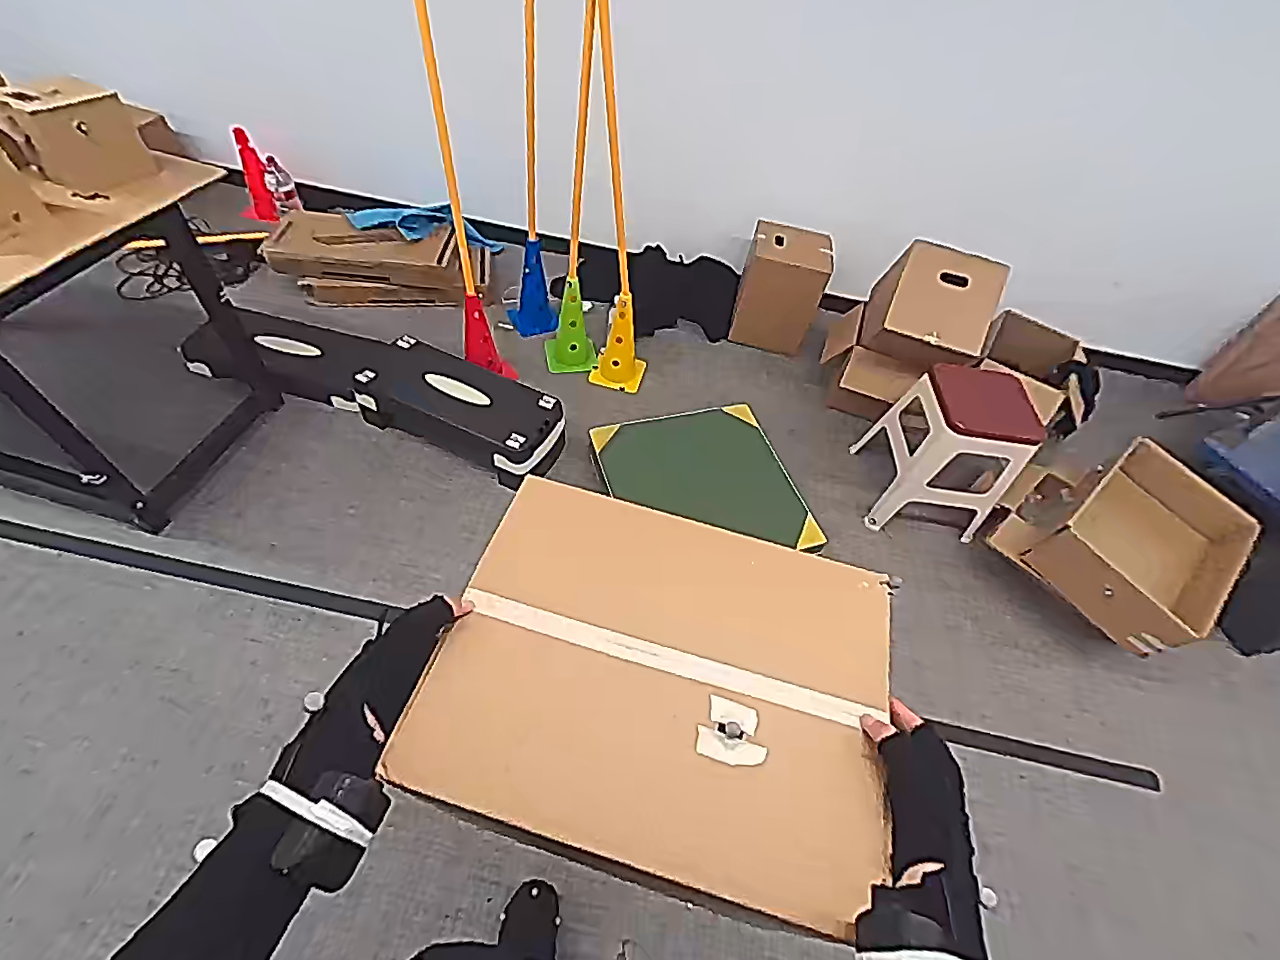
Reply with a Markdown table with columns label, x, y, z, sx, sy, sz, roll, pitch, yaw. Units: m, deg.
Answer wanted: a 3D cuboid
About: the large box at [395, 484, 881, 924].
| label | x | y | z | sx | sy | sz | roll | pitch | yaw |
| --- | --- | --- | --- | --- | --- | --- | --- | --- | --- |
| large box | 0.011 | 0.256 | 0.627 | 0.408 | 0.320 | 0.320 | 16 | 54 | 4 |
